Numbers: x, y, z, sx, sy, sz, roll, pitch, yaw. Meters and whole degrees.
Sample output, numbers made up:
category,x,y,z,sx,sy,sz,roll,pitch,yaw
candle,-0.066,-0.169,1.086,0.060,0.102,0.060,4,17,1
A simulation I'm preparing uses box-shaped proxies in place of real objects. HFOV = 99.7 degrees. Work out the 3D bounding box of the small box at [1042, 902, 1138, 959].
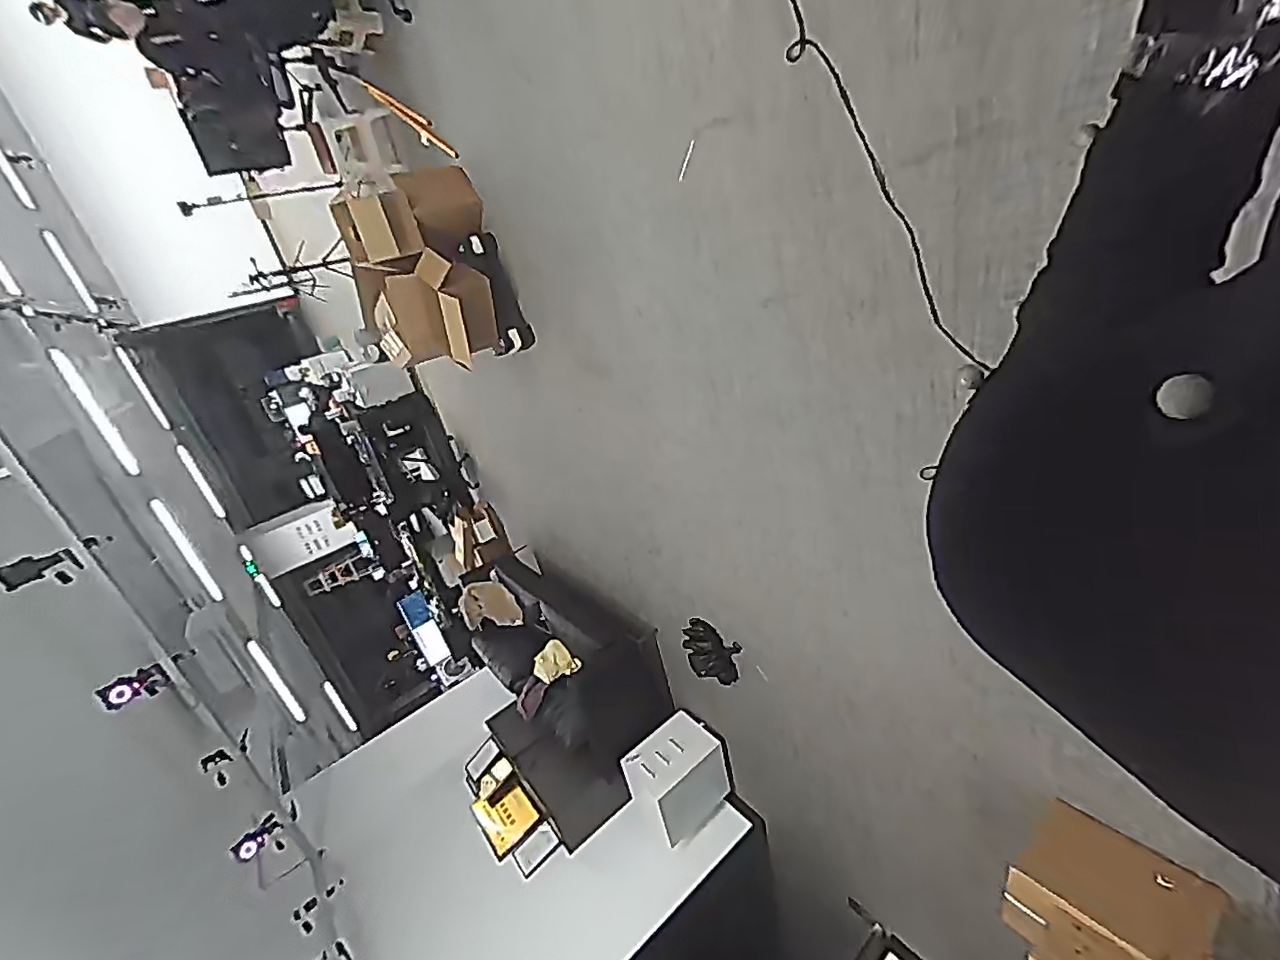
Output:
category,x,y,z,sx,sy,sz,roll,pitch,yaw
small box,1.222,1.316,1.470,0.168,0.176,0.179,14,126,53
